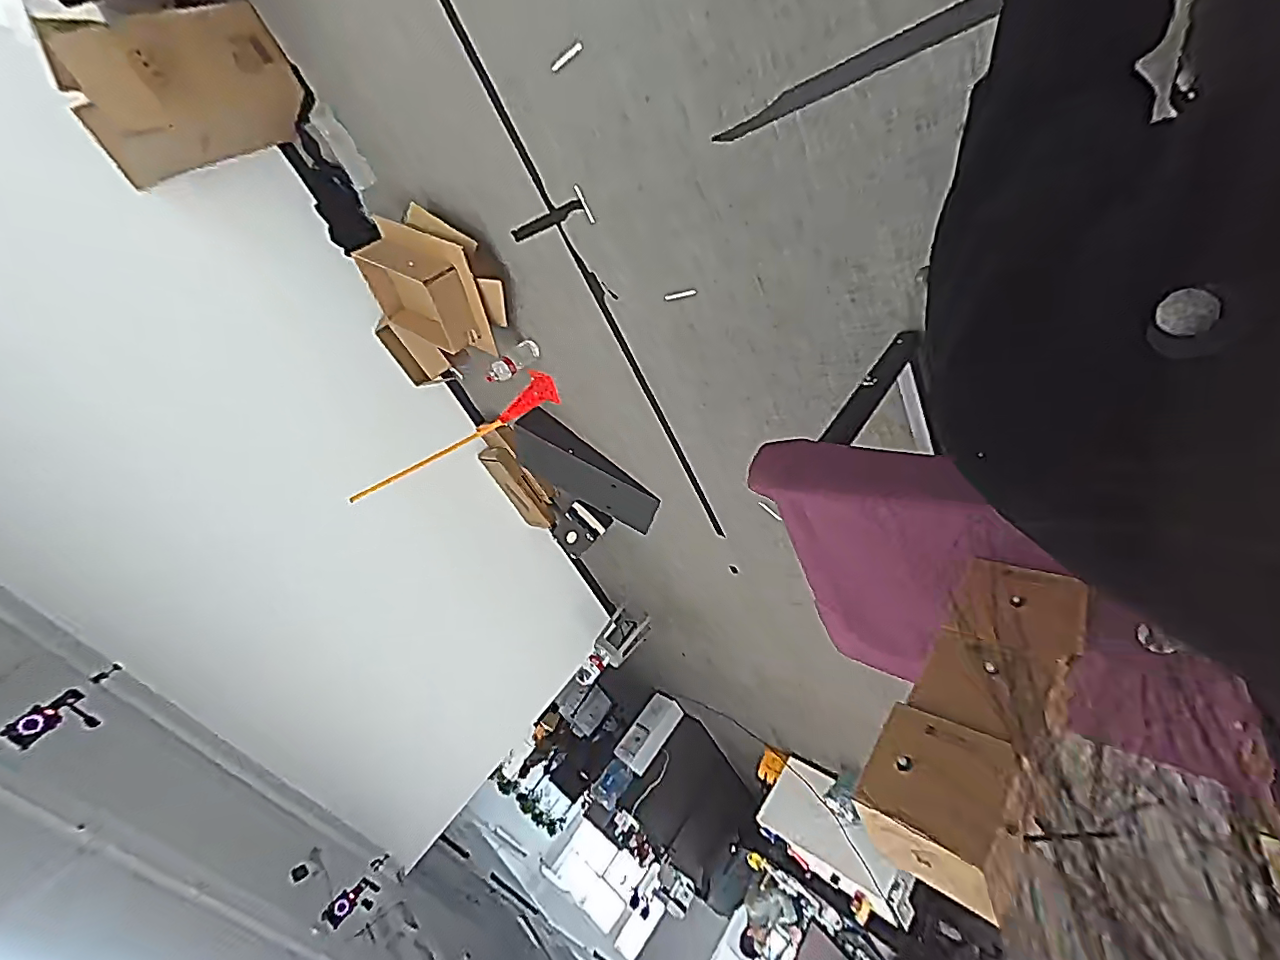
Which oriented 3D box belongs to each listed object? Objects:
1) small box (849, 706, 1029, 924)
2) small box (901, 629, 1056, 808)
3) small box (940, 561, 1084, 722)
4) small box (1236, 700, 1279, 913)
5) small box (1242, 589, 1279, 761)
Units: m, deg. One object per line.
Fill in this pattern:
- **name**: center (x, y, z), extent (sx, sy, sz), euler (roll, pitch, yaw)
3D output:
- **small box**: center (0.426, 0.457, 0.764), extent (0.168, 0.176, 0.179), euler (7, 135, 49)
- **small box**: center (0.535, 0.371, 0.850), extent (0.168, 0.176, 0.179), euler (9, 136, 46)
- **small box**: center (0.636, 0.264, 0.924), extent (0.168, 0.176, 0.179), euler (11, 138, 46)
- **small box**: center (0.755, 0.367, 0.565), extent (0.168, 0.176, 0.179), euler (6, 135, 49)
- **small box**: center (0.851, 0.256, 0.641), extent (0.168, 0.176, 0.179), euler (8, 137, 47)
